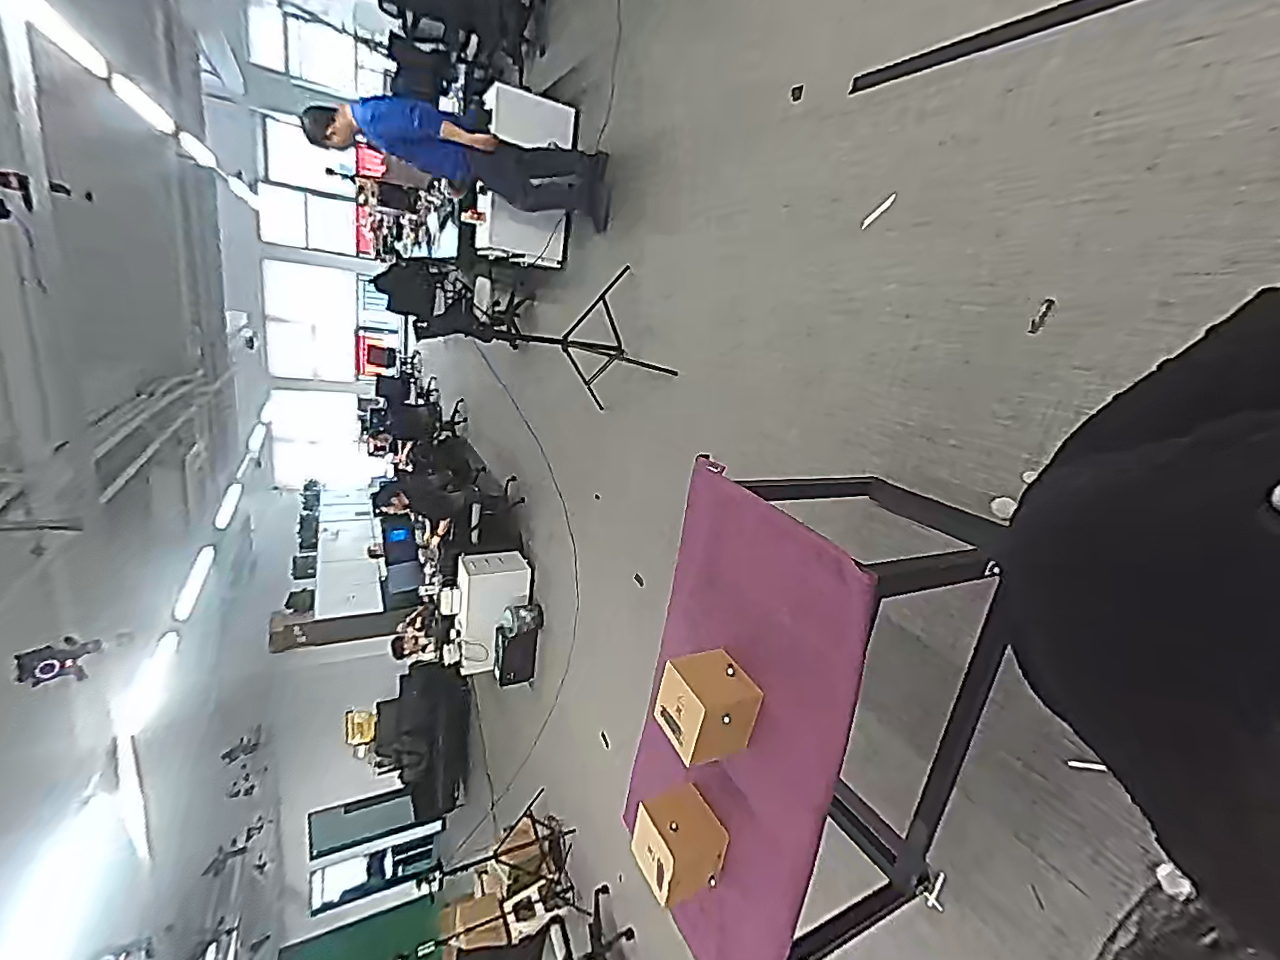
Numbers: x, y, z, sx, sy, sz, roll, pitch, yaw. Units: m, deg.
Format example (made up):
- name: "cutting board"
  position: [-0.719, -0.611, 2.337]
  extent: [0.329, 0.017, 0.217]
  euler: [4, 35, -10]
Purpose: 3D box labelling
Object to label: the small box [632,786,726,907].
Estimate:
- name: "small box"
  position: [0.100, 0.934, 1.398]
  extent: [0.179, 0.176, 0.168]
  euler: [35, 120, 55]
